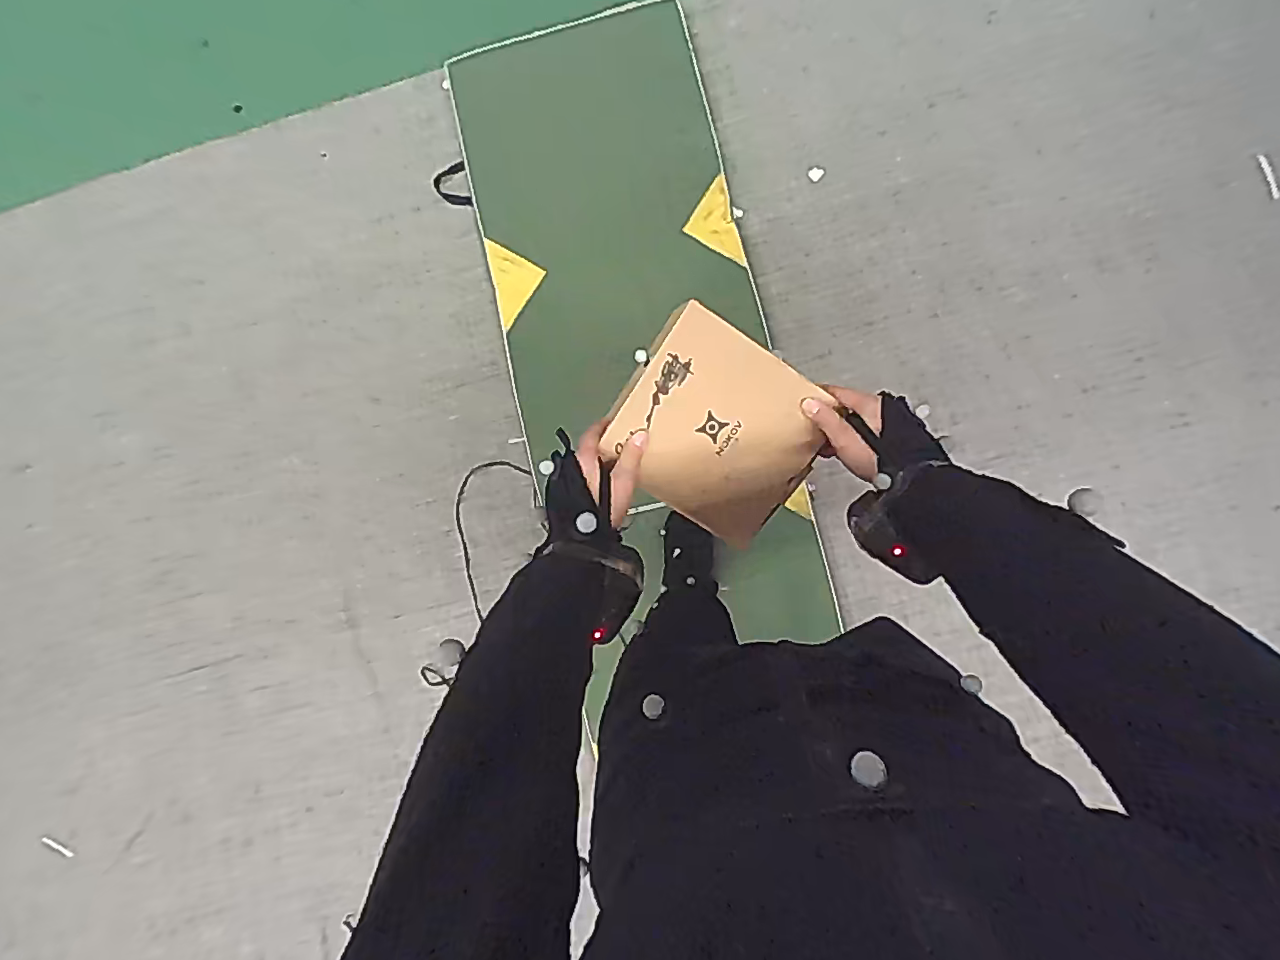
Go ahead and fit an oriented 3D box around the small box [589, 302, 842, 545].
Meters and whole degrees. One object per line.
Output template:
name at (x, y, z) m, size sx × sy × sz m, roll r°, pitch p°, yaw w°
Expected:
small box at (0.068, -0.067, 0.568) m, size 0.179 × 0.176 × 0.168 m, roll 32°, pitch 103°, yaw -9°
